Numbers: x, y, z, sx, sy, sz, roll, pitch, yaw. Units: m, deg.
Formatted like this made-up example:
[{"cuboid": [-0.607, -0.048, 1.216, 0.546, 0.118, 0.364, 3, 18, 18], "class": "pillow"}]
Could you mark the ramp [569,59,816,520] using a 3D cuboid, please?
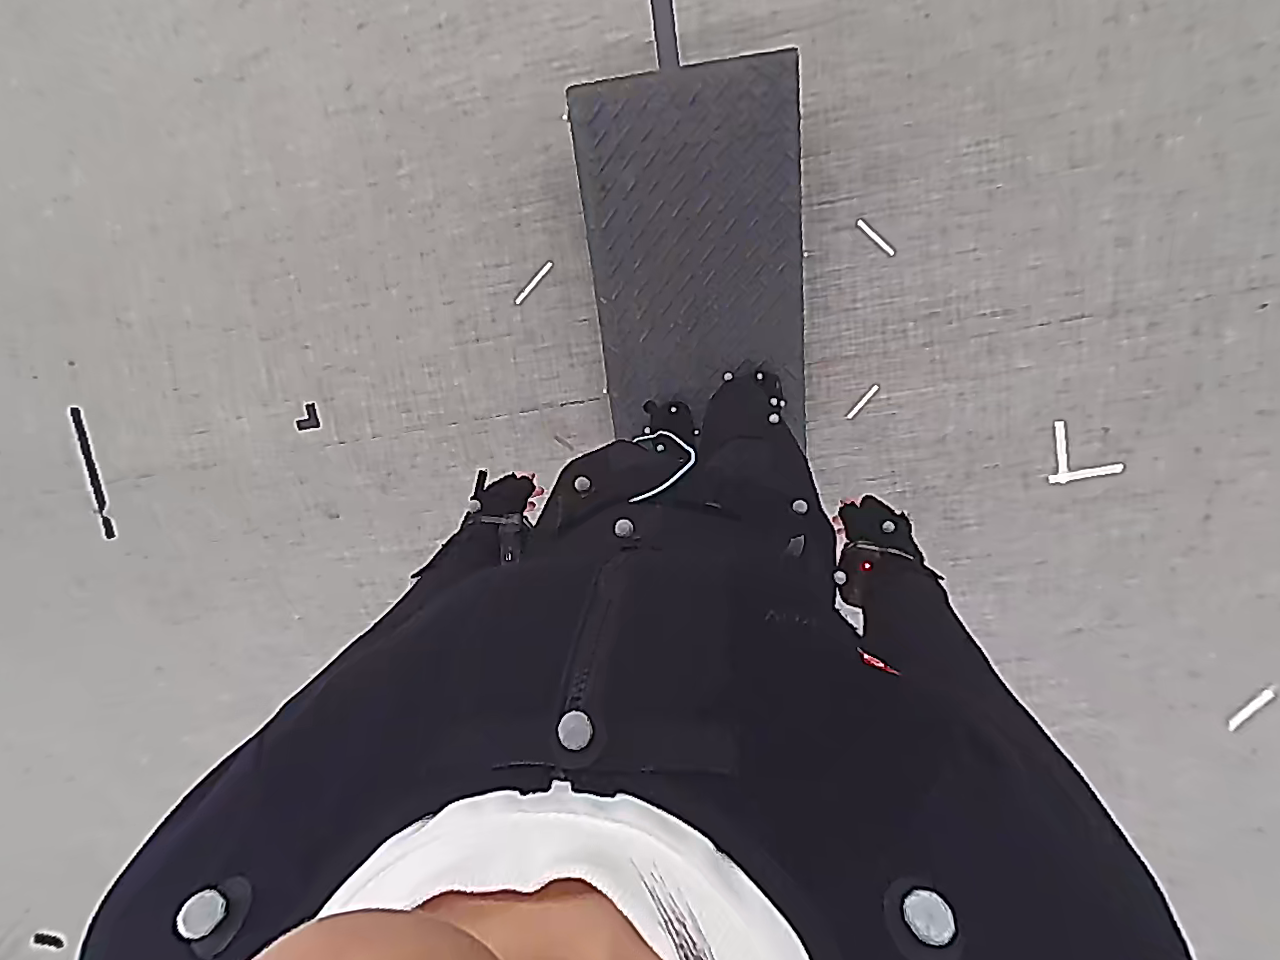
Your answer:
[{"cuboid": [0.159, -0.385, 1.314, 0.509, 0.206, 0.991, -9, 98, 6], "class": "ramp"}]
